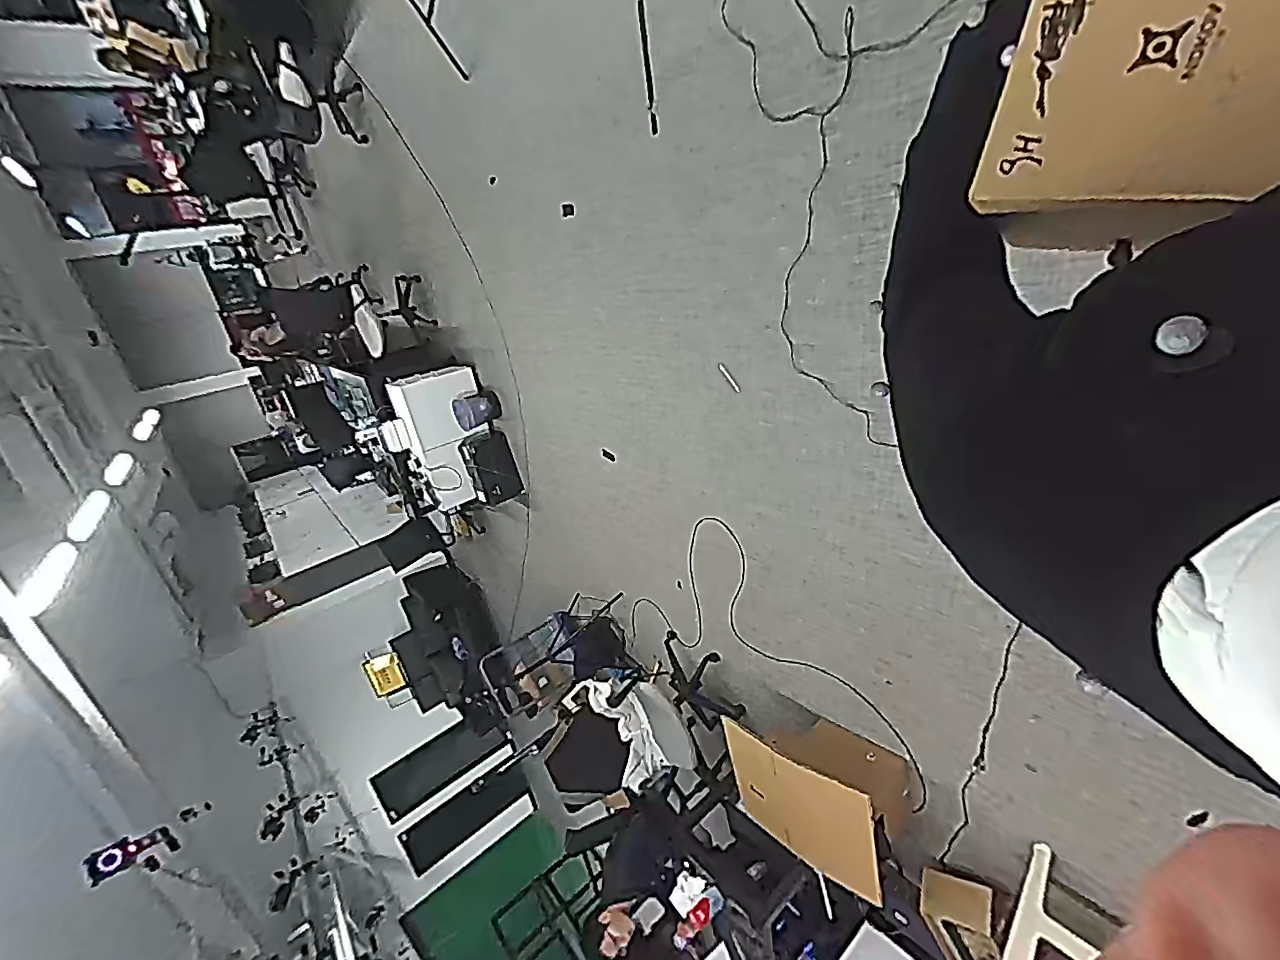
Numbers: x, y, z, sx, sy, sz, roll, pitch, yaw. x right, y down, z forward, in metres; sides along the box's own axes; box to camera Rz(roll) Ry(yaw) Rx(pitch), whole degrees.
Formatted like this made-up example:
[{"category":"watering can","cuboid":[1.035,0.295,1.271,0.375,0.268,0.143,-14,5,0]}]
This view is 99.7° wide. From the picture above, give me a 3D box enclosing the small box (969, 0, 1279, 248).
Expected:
[{"category":"small box","cuboid":[0.370,-0.266,0.377,0.179,0.176,0.168,25,113,38]}]
